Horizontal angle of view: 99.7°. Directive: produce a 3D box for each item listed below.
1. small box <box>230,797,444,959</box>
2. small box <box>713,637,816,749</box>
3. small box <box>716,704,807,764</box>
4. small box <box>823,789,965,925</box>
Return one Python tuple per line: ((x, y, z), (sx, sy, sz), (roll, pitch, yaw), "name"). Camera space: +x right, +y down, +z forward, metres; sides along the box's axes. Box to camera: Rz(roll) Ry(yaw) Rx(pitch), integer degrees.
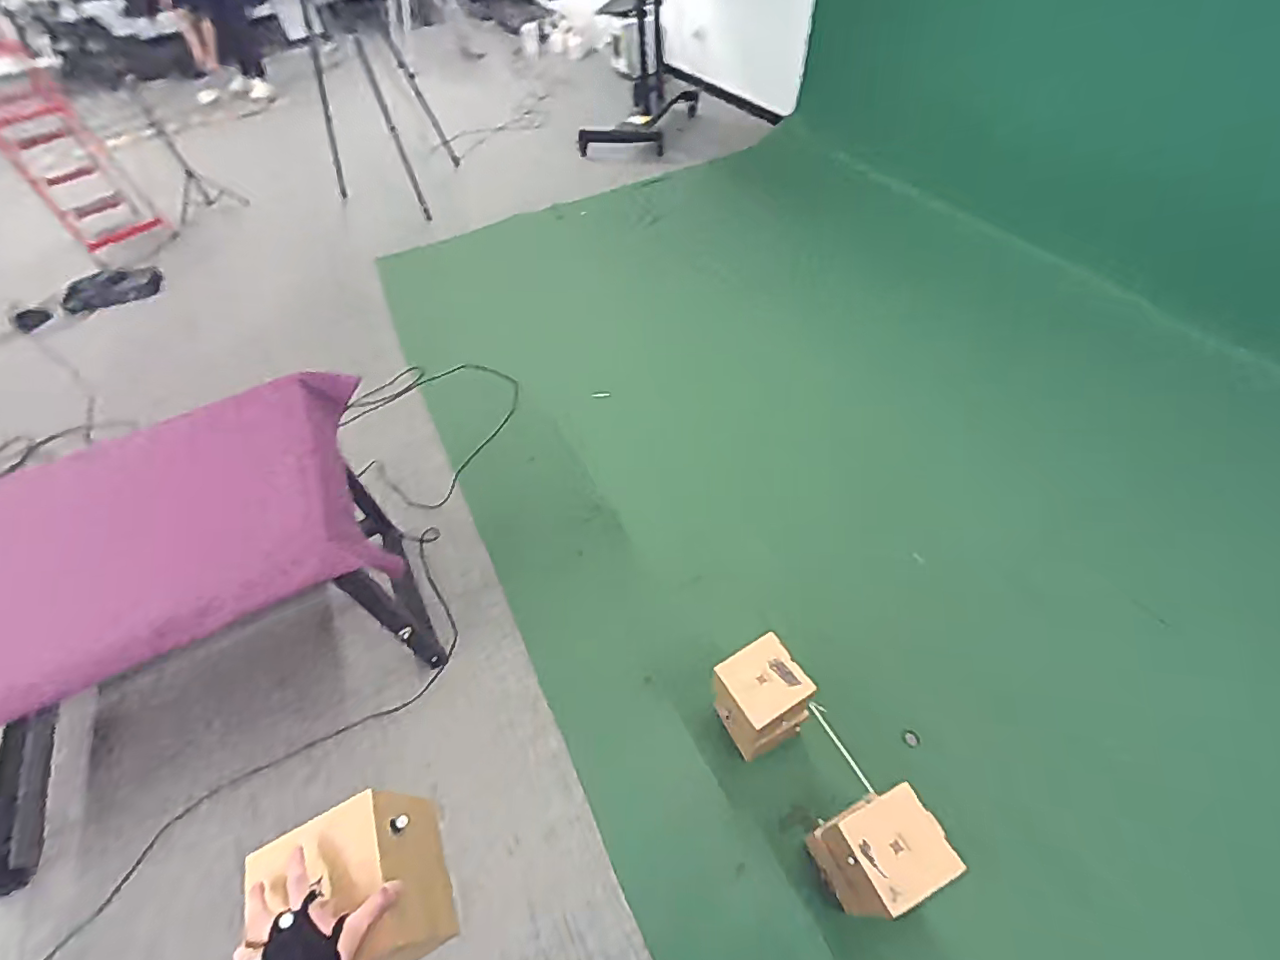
((-0.374, 0.539, 0.683), (0.168, 0.176, 0.179), (-28, 53, -8), "small box")
((0.290, 0.517, 1.308), (0.179, 0.176, 0.168), (-26, 54, -15), "small box")
((0.312, 0.622, 1.433), (0.179, 0.176, 0.168), (-23, 53, -14), "small box")
((0.501, 0.760, 1.096), (0.179, 0.176, 0.168), (-21, 53, -12), "small box")
